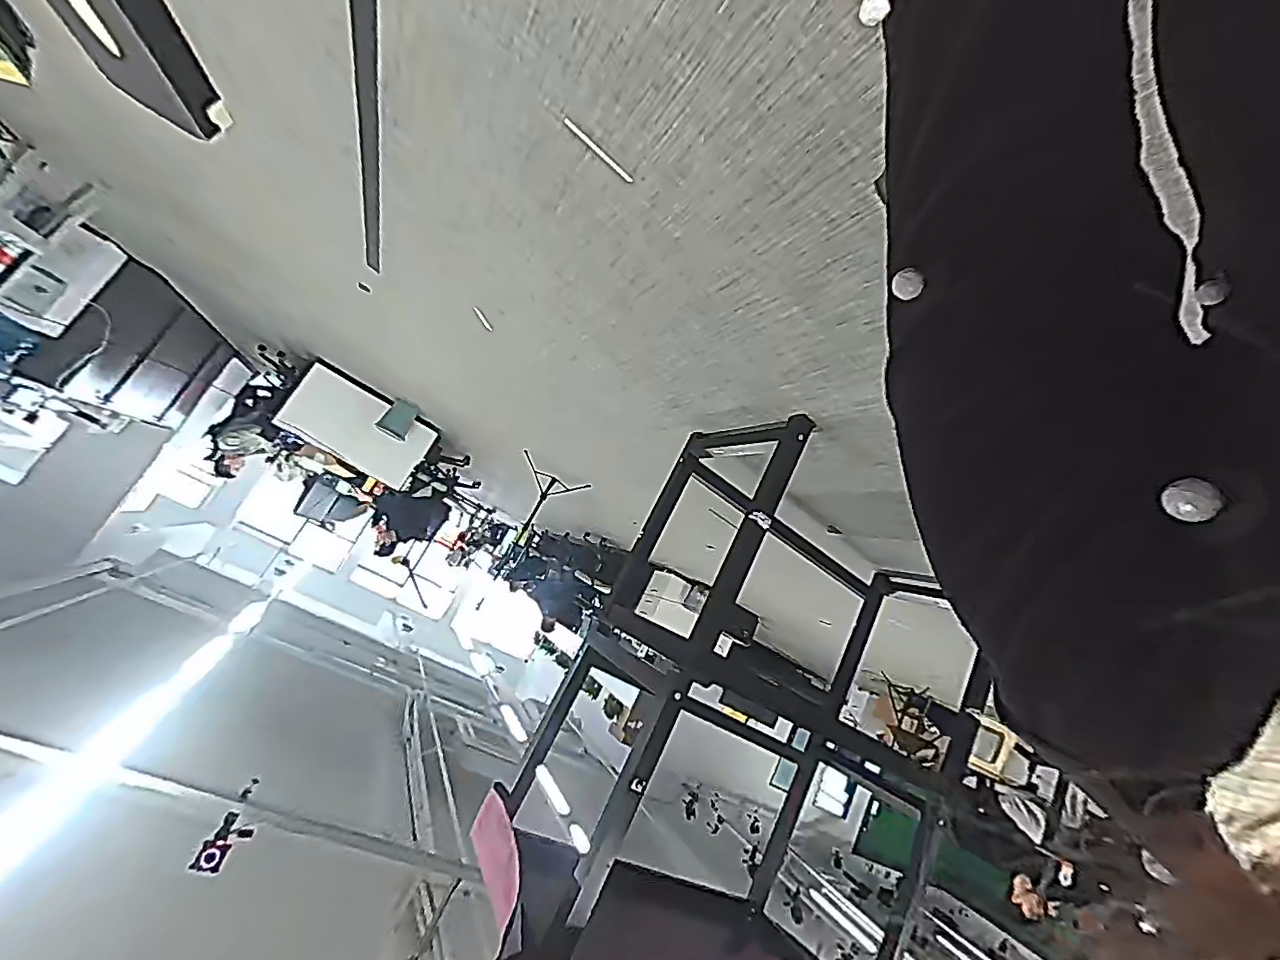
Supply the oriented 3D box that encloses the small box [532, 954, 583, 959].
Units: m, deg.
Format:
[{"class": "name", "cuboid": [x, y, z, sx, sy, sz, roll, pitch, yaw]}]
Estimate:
[{"class": "small box", "cuboid": [-0.186, 1.232, 1.232, 0.179, 0.176, 0.168, 34, 166, -28]}]
